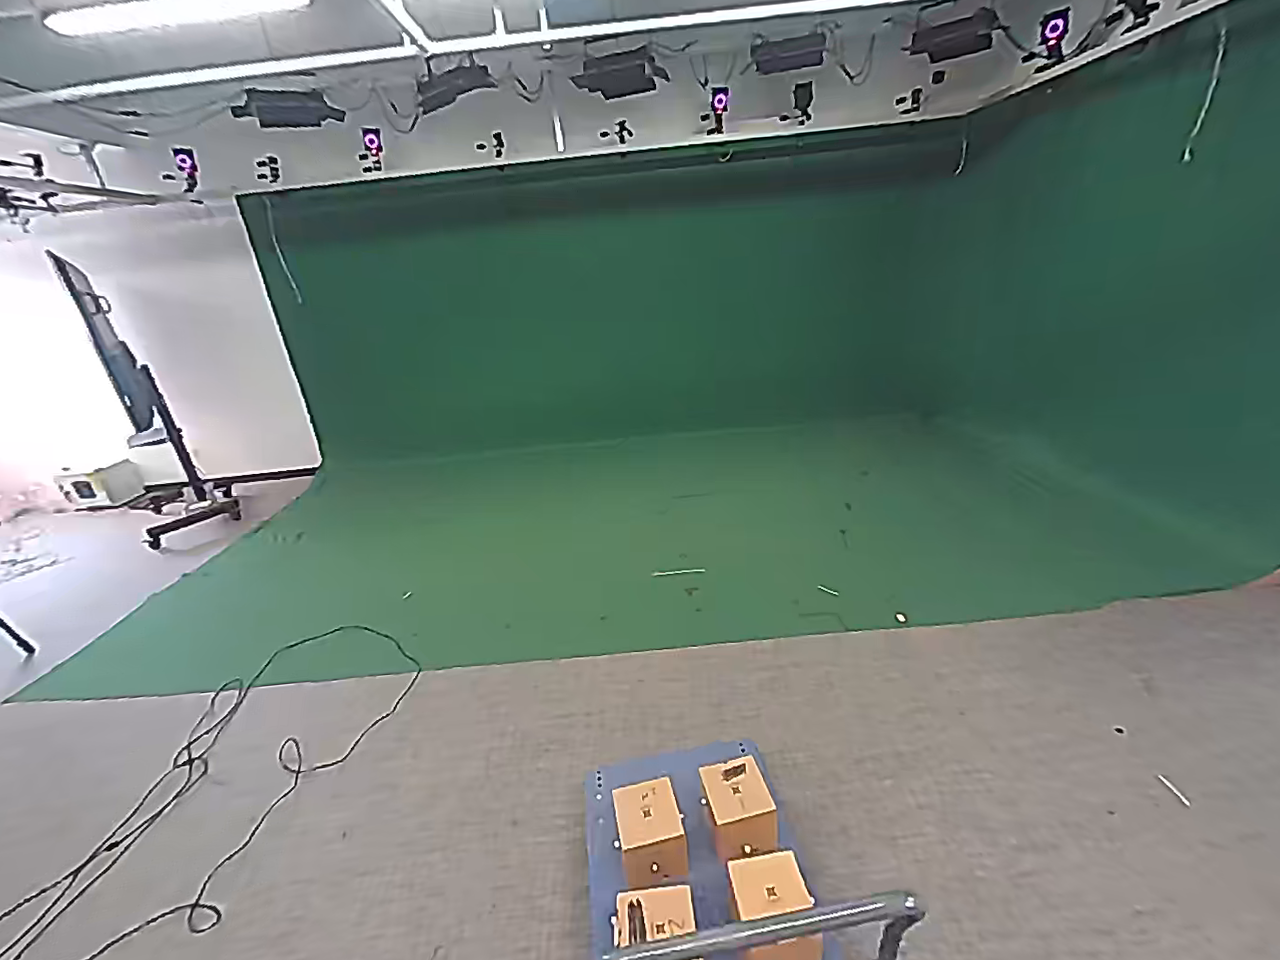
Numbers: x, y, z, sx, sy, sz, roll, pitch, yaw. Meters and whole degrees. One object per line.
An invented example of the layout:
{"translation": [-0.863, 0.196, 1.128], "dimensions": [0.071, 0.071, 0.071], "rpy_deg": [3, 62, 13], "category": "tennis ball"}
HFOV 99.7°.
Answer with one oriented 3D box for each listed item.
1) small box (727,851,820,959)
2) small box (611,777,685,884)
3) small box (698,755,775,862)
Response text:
{"translation": [0.304, 1.021, 1.266], "dimensions": [0.168, 0.176, 0.179], "rpy_deg": [-7, 23, -4], "category": "small box"}
{"translation": [0.021, 0.958, 1.474], "dimensions": [0.168, 0.176, 0.179], "rpy_deg": [-8, 23, -9], "category": "small box"}
{"translation": [0.267, 0.917, 1.513], "dimensions": [0.168, 0.176, 0.179], "rpy_deg": [-10, 24, -8], "category": "small box"}
